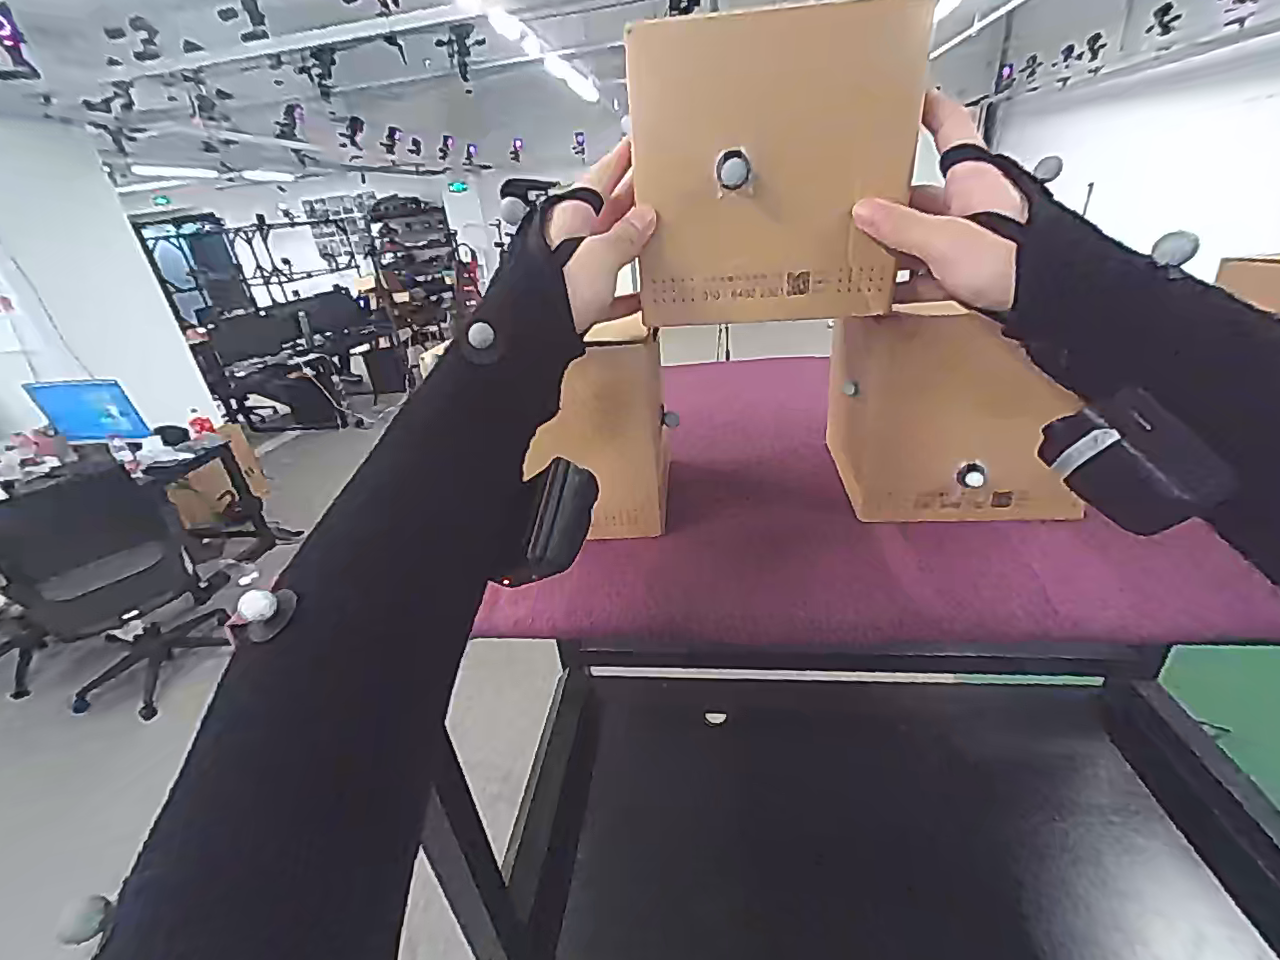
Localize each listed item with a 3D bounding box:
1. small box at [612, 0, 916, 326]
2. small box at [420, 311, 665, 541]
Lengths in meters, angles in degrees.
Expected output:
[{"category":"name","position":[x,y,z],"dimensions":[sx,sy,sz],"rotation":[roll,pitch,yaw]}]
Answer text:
[{"category":"small box","position":[0.082,-0.214,0.399],"dimensions":[0.168,0.176,0.179],"rotation":[-1,29,8]},{"category":"small box","position":[-0.068,-0.054,0.504],"dimensions":[0.179,0.176,0.168],"rotation":[-2,25,6]}]
